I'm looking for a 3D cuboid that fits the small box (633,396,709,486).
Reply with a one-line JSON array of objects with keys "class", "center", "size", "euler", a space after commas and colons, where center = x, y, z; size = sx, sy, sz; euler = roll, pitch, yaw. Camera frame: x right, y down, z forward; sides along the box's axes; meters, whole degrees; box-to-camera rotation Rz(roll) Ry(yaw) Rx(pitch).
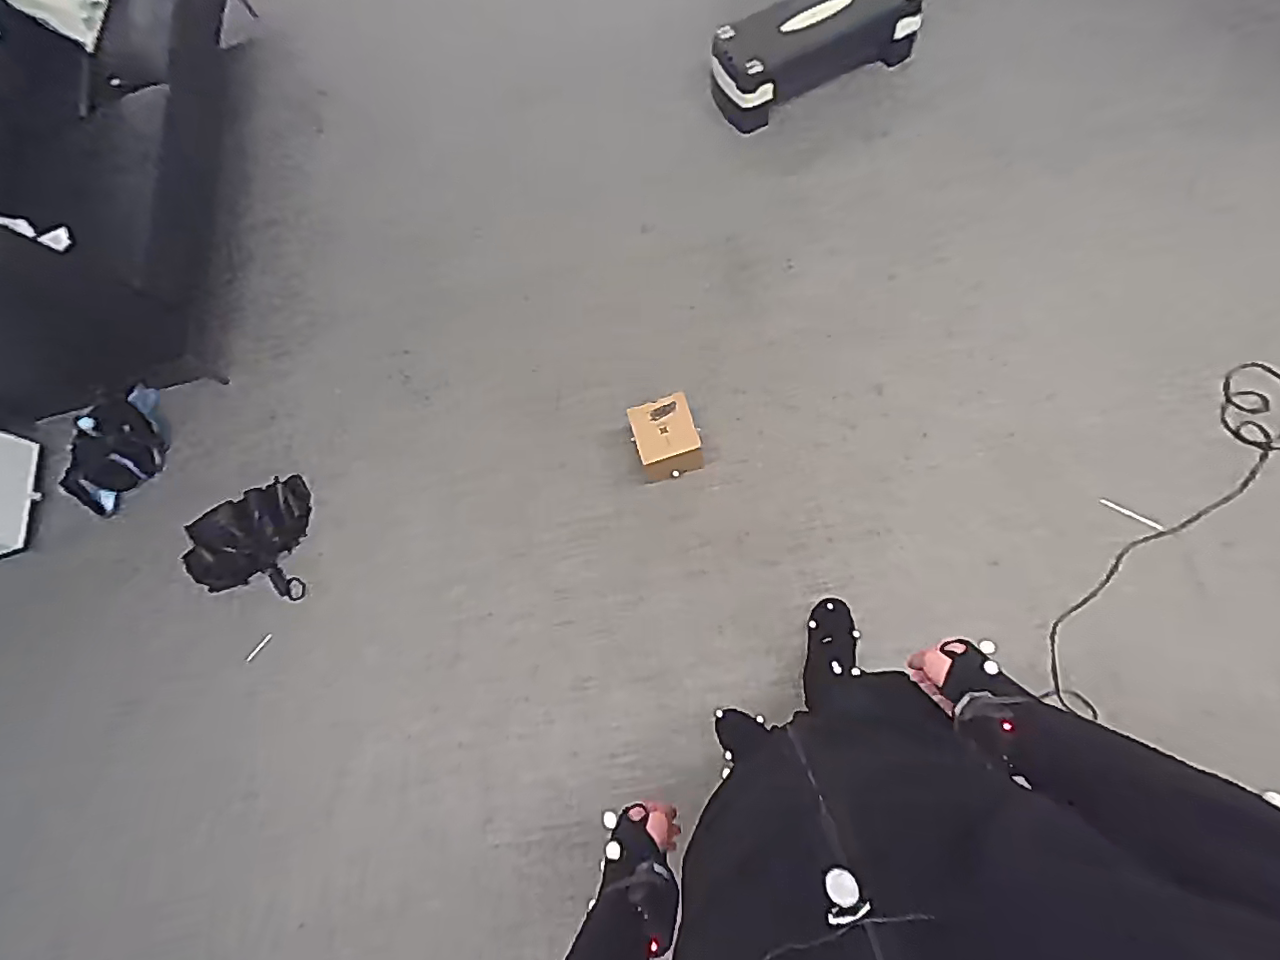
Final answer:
[{"class": "small box", "center": [0.090, -0.104, 1.528], "size": [0.168, 0.176, 0.179], "euler": [-18, 70, 5]}]
